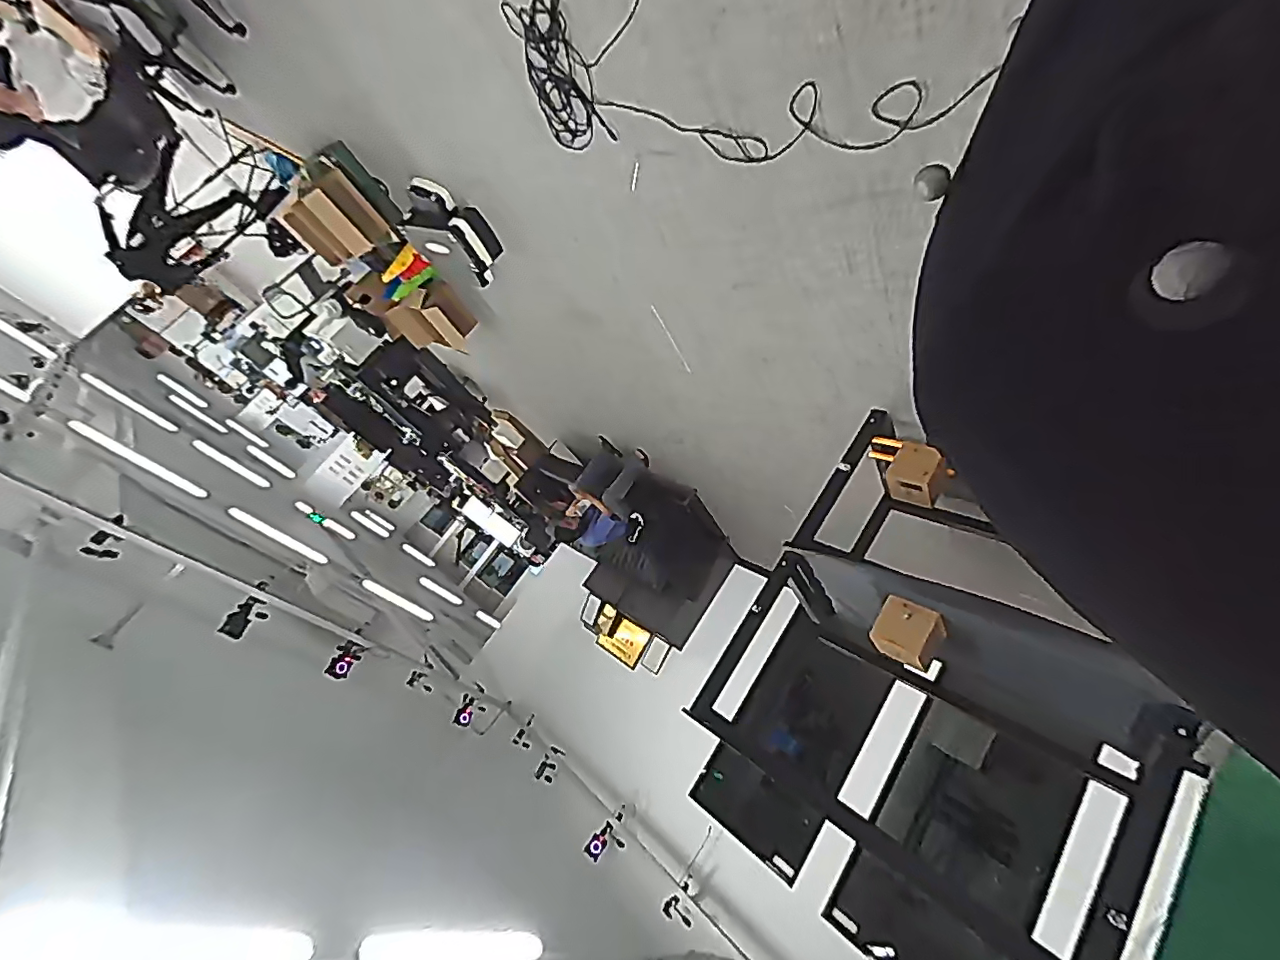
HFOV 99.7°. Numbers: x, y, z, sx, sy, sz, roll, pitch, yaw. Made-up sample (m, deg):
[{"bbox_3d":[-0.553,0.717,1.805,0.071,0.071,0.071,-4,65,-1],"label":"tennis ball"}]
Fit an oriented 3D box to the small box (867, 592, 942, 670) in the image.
[{"bbox_3d":[0.911,0.513,1.853,0.168,0.176,0.179,19,158,45],"label":"small box"}]
